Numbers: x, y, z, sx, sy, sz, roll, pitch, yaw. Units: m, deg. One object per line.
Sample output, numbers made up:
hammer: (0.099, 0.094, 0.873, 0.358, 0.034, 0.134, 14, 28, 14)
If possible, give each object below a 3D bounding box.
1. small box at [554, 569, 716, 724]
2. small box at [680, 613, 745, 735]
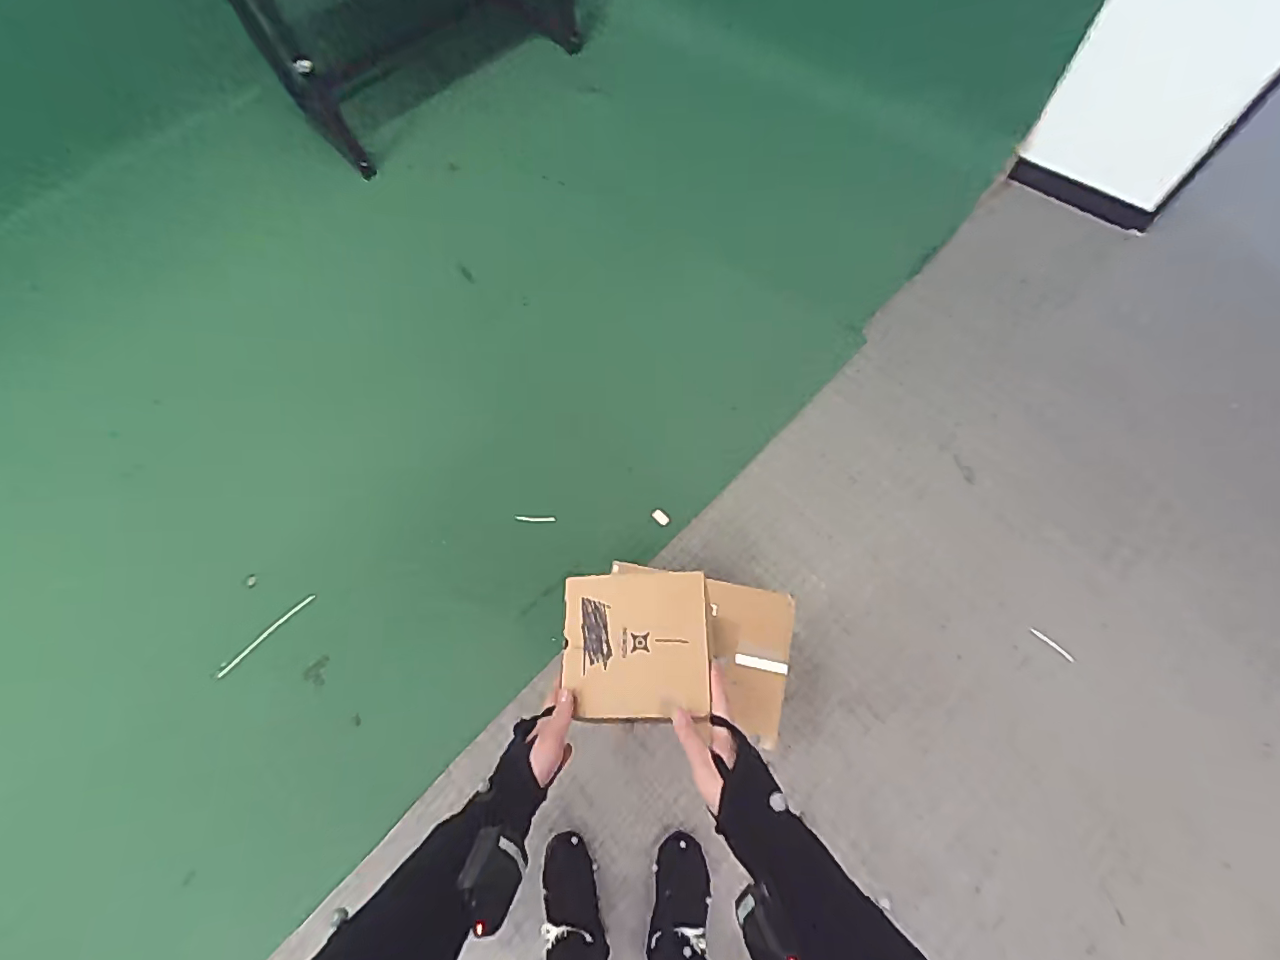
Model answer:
small box: (0.002, 0.220, 0.694, 0.179, 0.176, 0.168, -4, 64, 8)
small box: (0.061, 0.299, 0.875, 0.179, 0.176, 0.168, 12, 68, 10)
